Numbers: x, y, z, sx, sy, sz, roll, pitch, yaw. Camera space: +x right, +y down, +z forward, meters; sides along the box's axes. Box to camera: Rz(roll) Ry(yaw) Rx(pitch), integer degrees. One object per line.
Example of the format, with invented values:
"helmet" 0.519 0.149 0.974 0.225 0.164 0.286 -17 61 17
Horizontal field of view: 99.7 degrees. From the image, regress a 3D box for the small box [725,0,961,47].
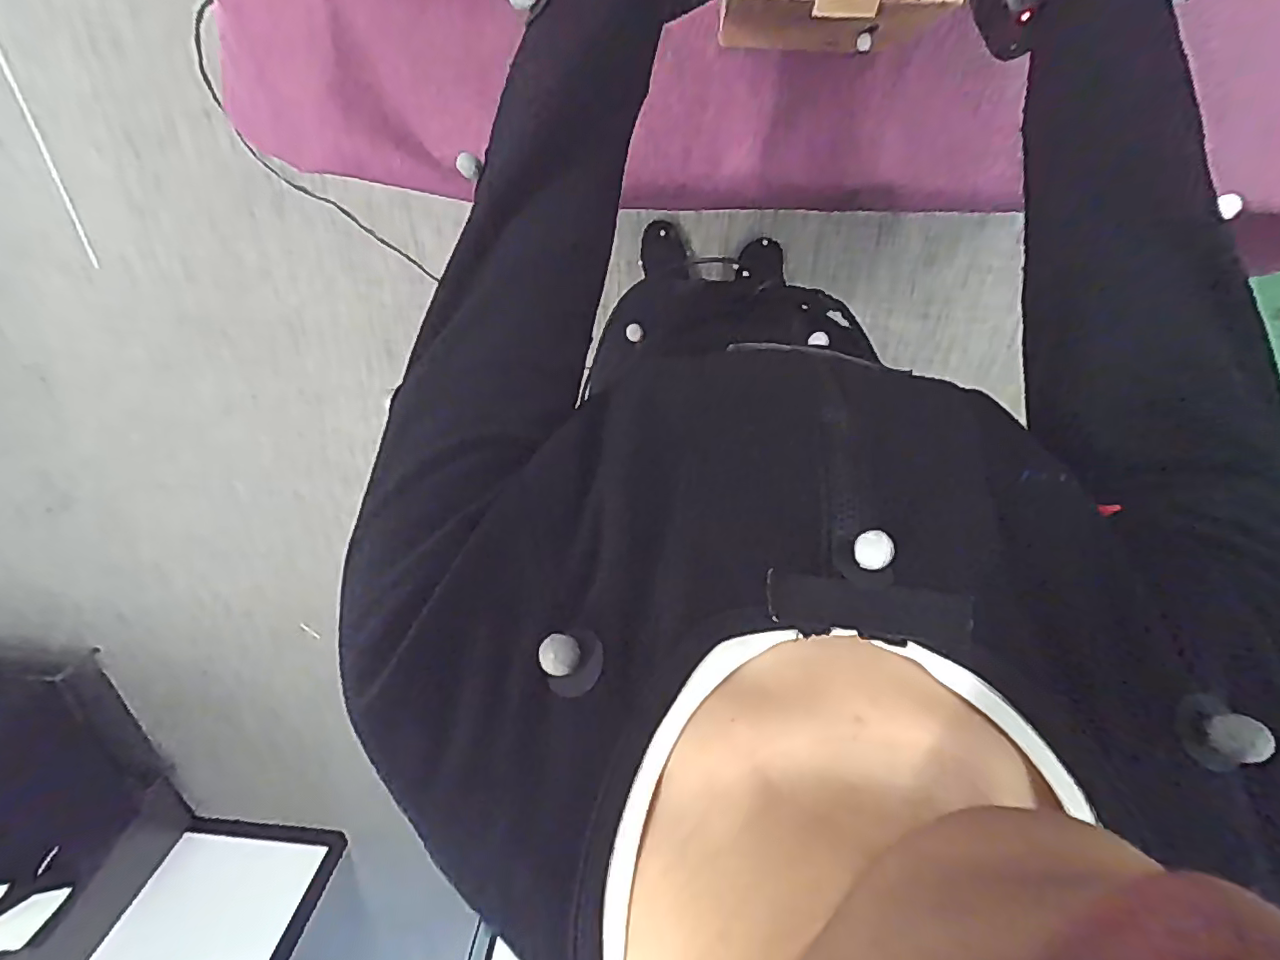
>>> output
"small box" 0.157 -0.451 0.407 0.168 0.176 0.179 5 119 3
